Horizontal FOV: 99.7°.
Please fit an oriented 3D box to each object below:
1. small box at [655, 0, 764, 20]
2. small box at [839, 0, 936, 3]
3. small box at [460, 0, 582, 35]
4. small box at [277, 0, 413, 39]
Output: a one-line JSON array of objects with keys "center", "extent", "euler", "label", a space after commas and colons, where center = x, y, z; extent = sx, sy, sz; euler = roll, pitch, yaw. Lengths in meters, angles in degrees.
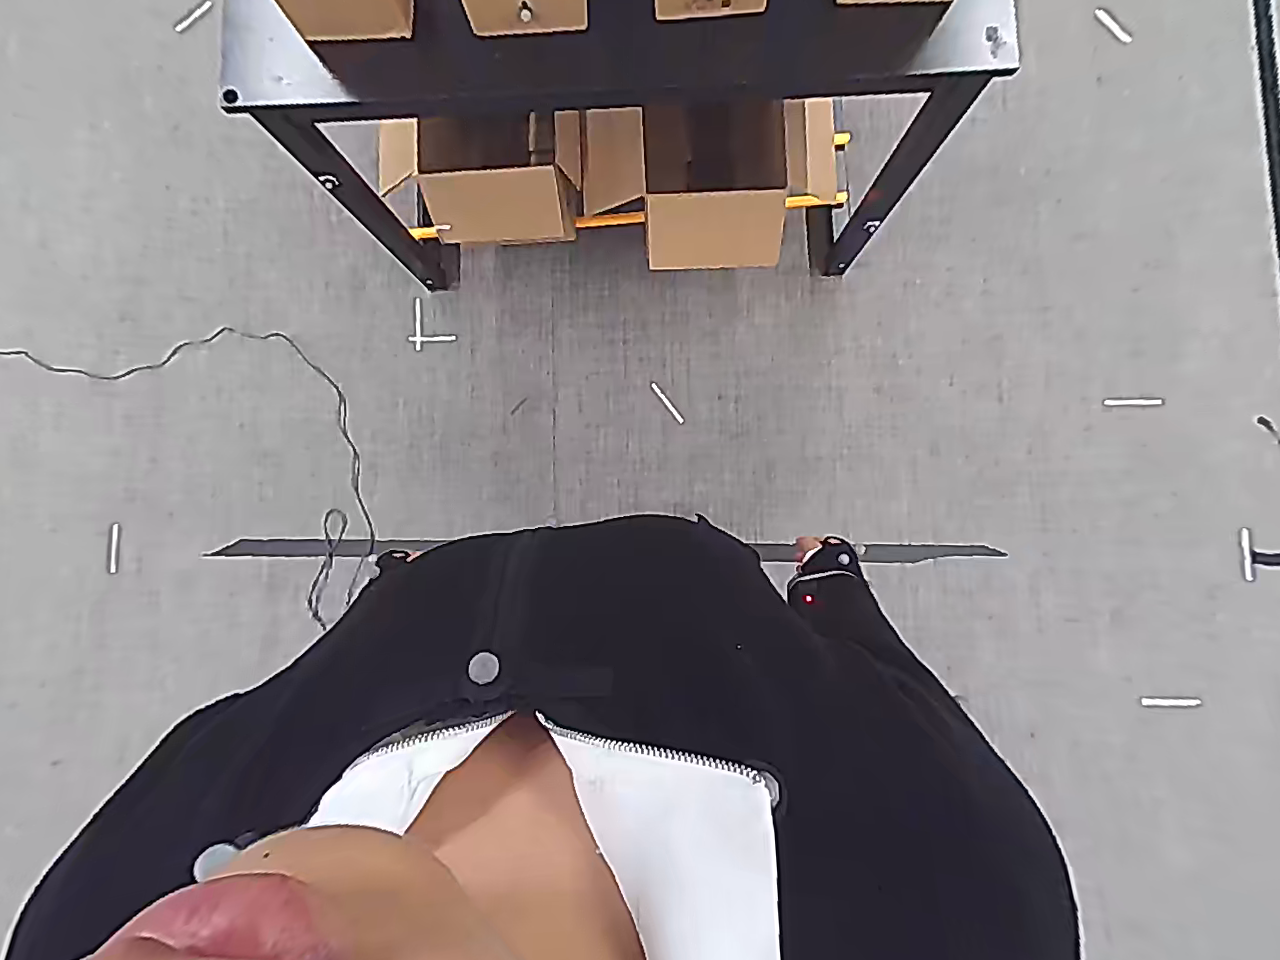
[{"center": [0.098, -0.787, 0.740], "extent": [0.168, 0.176, 0.179], "euler": [-3, 86, 2], "label": "small box"}, {"center": [0.378, -0.795, 0.731], "extent": [0.179, 0.176, 0.168], "euler": [1, 85, 2], "label": "small box"}, {"center": [-0.173, -0.763, 0.746], "extent": [0.179, 0.176, 0.168], "euler": [-3, 86, 1], "label": "small box"}, {"center": [-0.436, -0.760, 0.753], "extent": [0.179, 0.176, 0.168], "euler": [-1, 87, 0], "label": "small box"}]
